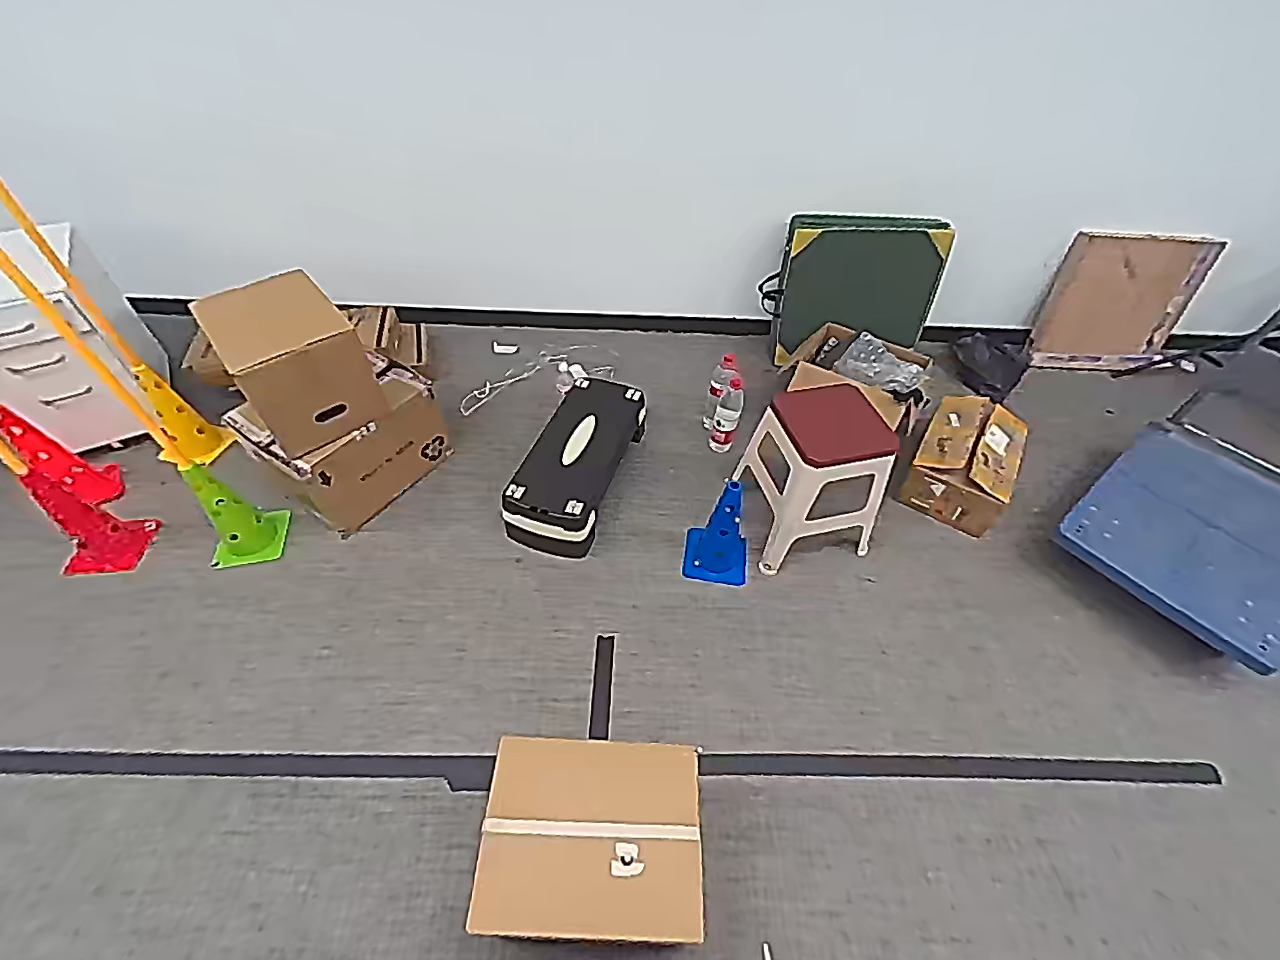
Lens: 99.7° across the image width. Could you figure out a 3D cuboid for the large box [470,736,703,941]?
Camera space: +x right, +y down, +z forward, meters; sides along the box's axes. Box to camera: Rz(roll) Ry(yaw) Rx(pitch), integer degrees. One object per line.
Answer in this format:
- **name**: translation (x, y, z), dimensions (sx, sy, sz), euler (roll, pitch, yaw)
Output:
- **large box**: translation (-0.098, 0.748, 1.121), dimensions (0.408, 0.320, 0.320), euler (4, 49, -2)
